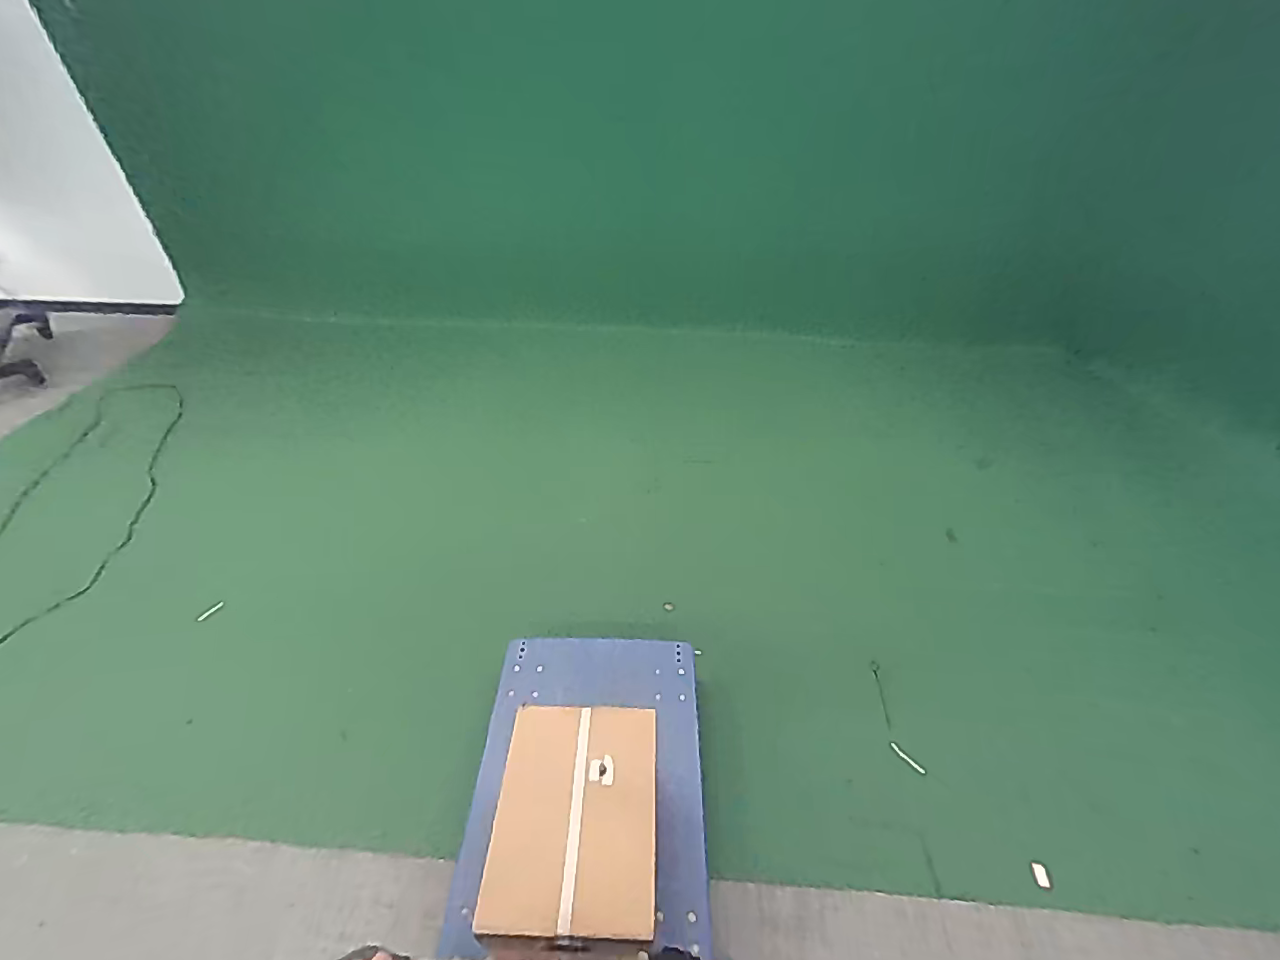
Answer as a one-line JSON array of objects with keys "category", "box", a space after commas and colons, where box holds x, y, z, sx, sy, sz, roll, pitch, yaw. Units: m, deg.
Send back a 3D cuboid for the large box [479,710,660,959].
[{"category": "large box", "box": [-0.118, 0.761, 1.153, 0.320, 0.320, 0.408, 1, 39, 1]}]
